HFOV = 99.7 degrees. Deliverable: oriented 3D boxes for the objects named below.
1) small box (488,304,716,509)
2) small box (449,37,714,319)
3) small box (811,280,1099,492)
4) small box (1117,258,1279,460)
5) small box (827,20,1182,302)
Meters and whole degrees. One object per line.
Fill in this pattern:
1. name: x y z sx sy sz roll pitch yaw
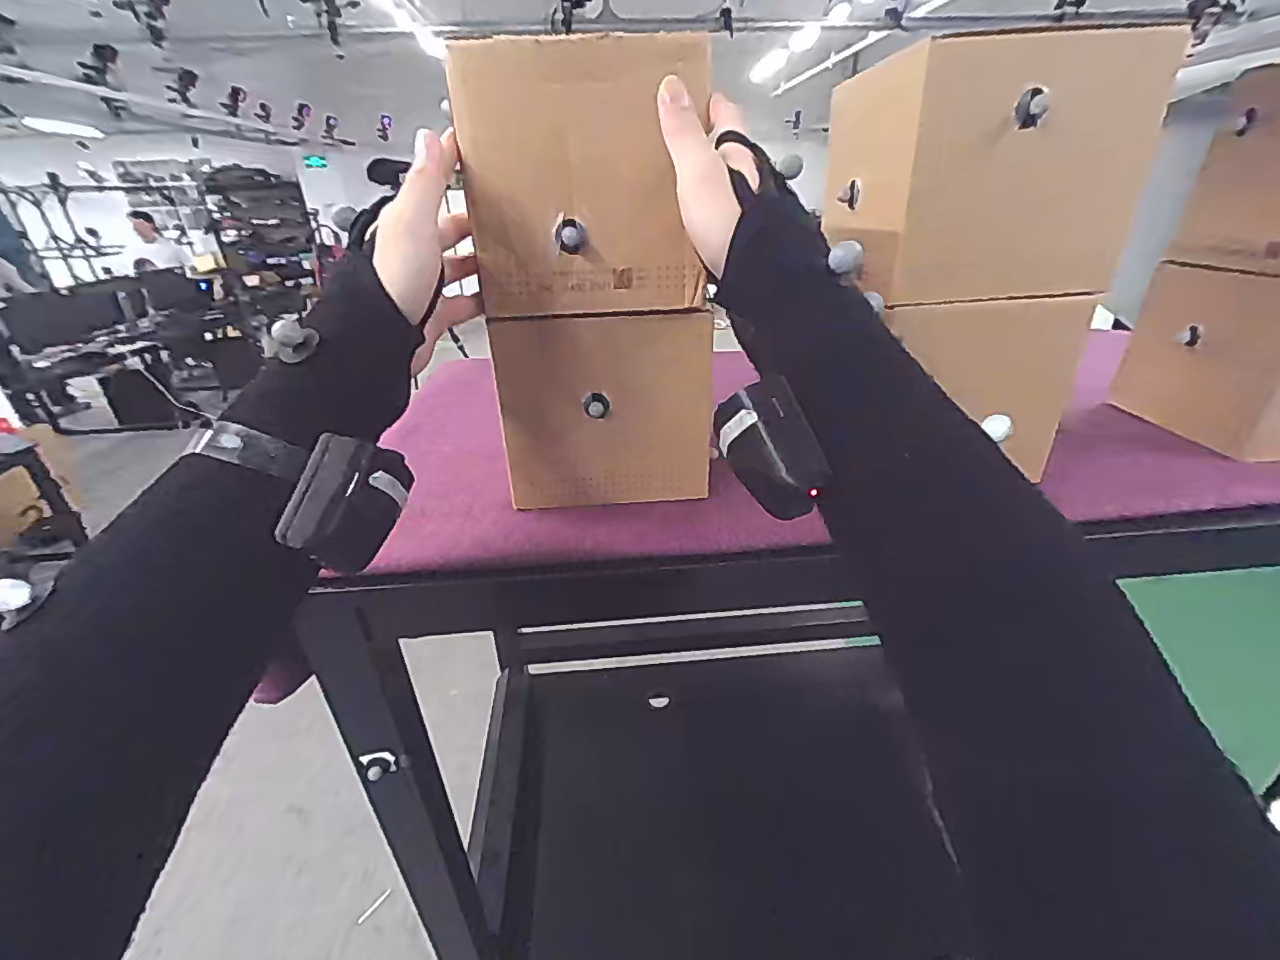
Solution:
1. small box: -0.031 -0.085 0.515 0.179 0.176 0.168 -4 26 -3
2. small box: -0.038 -0.231 0.439 0.168 0.176 0.179 -4 27 -2
3. small box: 0.276 -0.101 0.528 0.168 0.176 0.179 -3 27 0
4. small box: 0.655 -0.130 0.554 0.168 0.176 0.179 -3 27 1
5. small box: 0.267 -0.245 0.451 0.179 0.176 0.168 -4 27 -1
